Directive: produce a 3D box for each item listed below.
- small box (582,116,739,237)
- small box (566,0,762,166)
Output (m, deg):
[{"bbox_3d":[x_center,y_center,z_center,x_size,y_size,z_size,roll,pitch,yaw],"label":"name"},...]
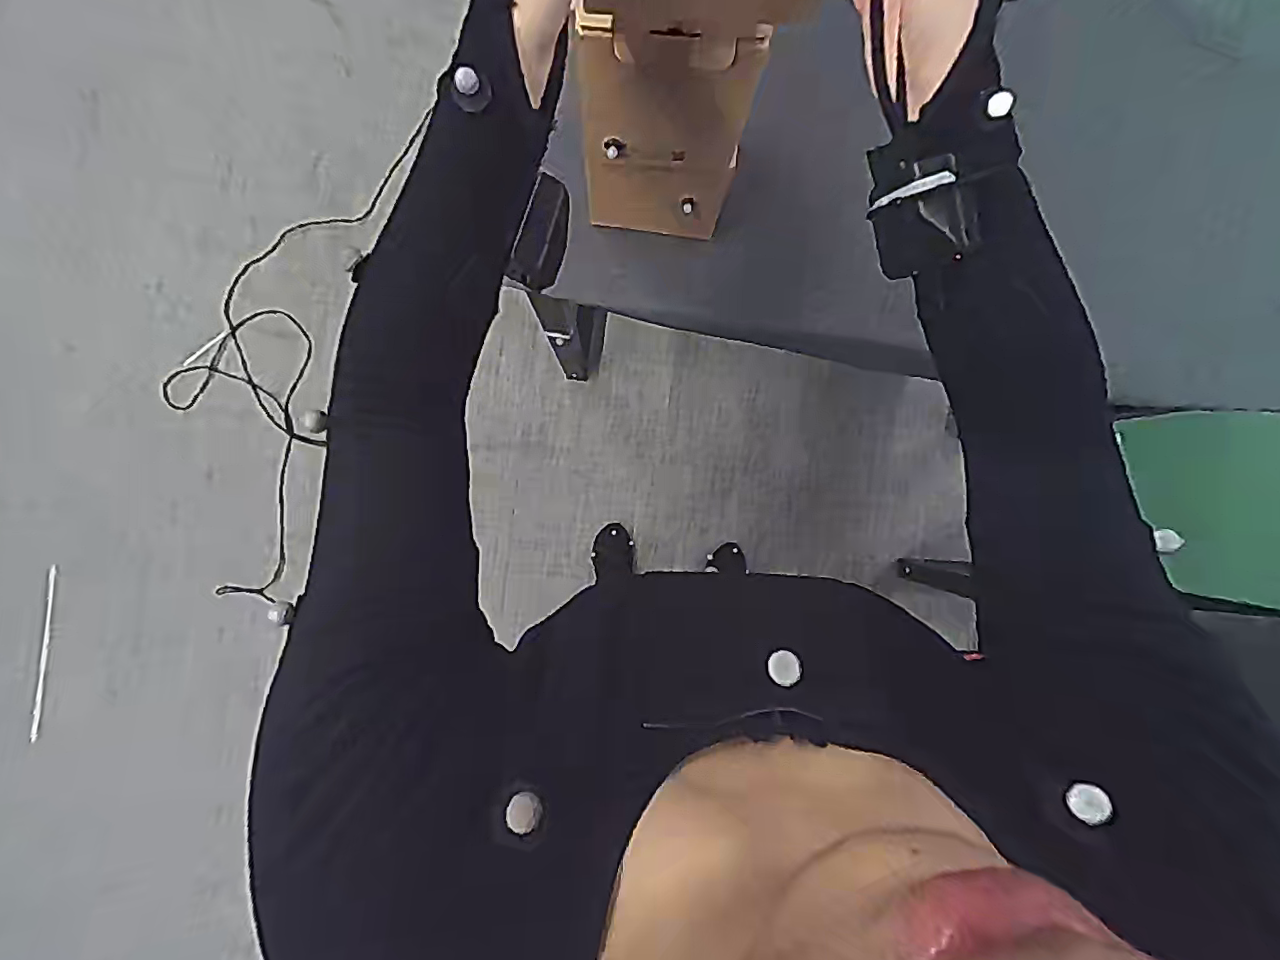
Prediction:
[{"bbox_3d":[0.027,-0.436,0.697,0.179,0.176,0.168,6,86,-1],"label":"small box"},{"bbox_3d":[0.022,-0.443,0.532,0.168,0.176,0.179,2,86,-2],"label":"small box"}]
